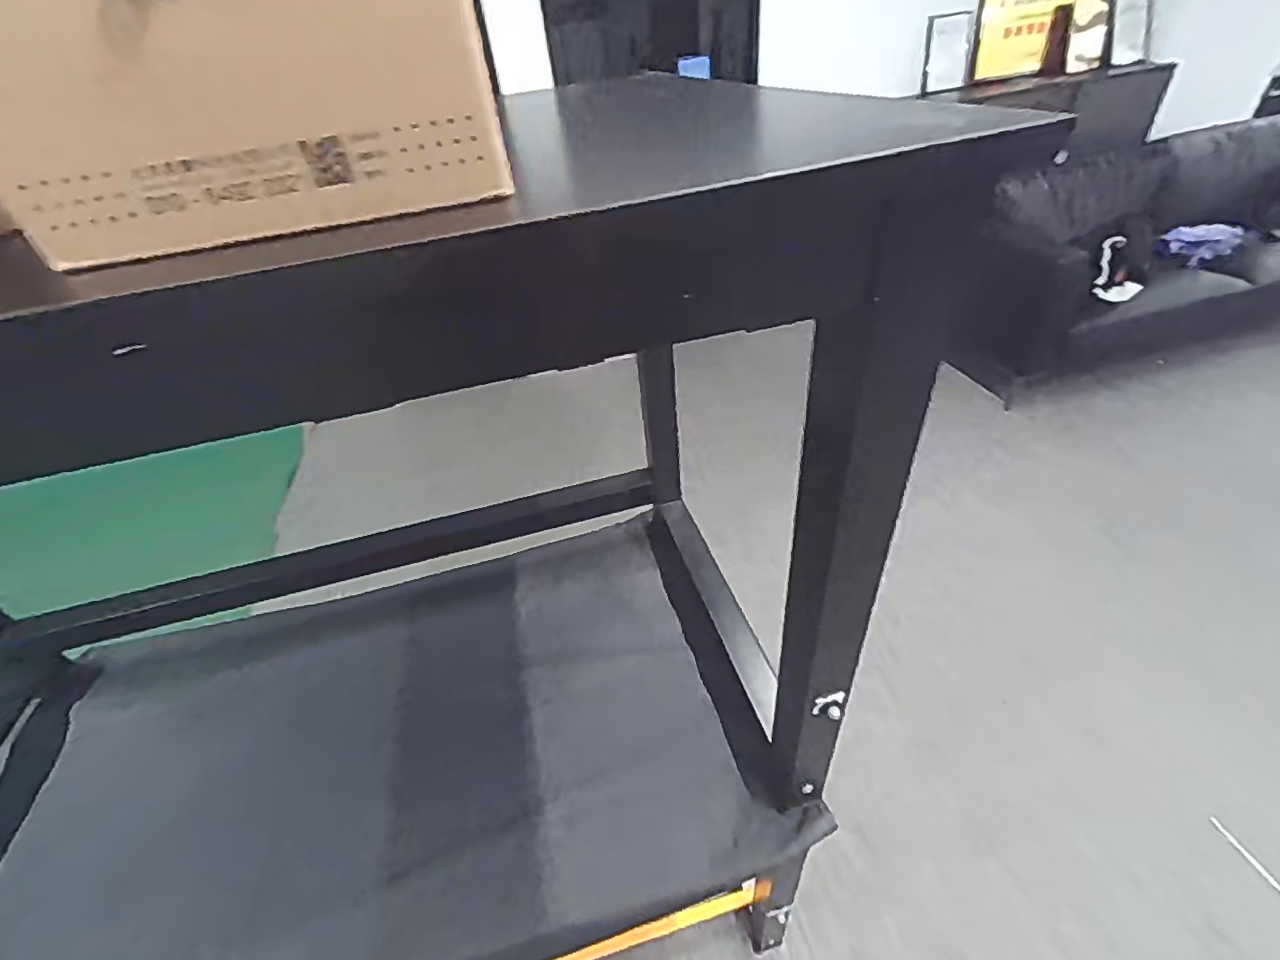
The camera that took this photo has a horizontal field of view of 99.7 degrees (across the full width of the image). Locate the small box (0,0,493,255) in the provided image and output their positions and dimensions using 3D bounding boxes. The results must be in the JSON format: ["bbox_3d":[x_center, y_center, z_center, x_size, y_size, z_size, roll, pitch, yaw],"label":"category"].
[{"bbox_3d":[-0.162,-0.203,0.220,0.168,0.176,0.179,-13,39,-7],"label":"small box"}]
